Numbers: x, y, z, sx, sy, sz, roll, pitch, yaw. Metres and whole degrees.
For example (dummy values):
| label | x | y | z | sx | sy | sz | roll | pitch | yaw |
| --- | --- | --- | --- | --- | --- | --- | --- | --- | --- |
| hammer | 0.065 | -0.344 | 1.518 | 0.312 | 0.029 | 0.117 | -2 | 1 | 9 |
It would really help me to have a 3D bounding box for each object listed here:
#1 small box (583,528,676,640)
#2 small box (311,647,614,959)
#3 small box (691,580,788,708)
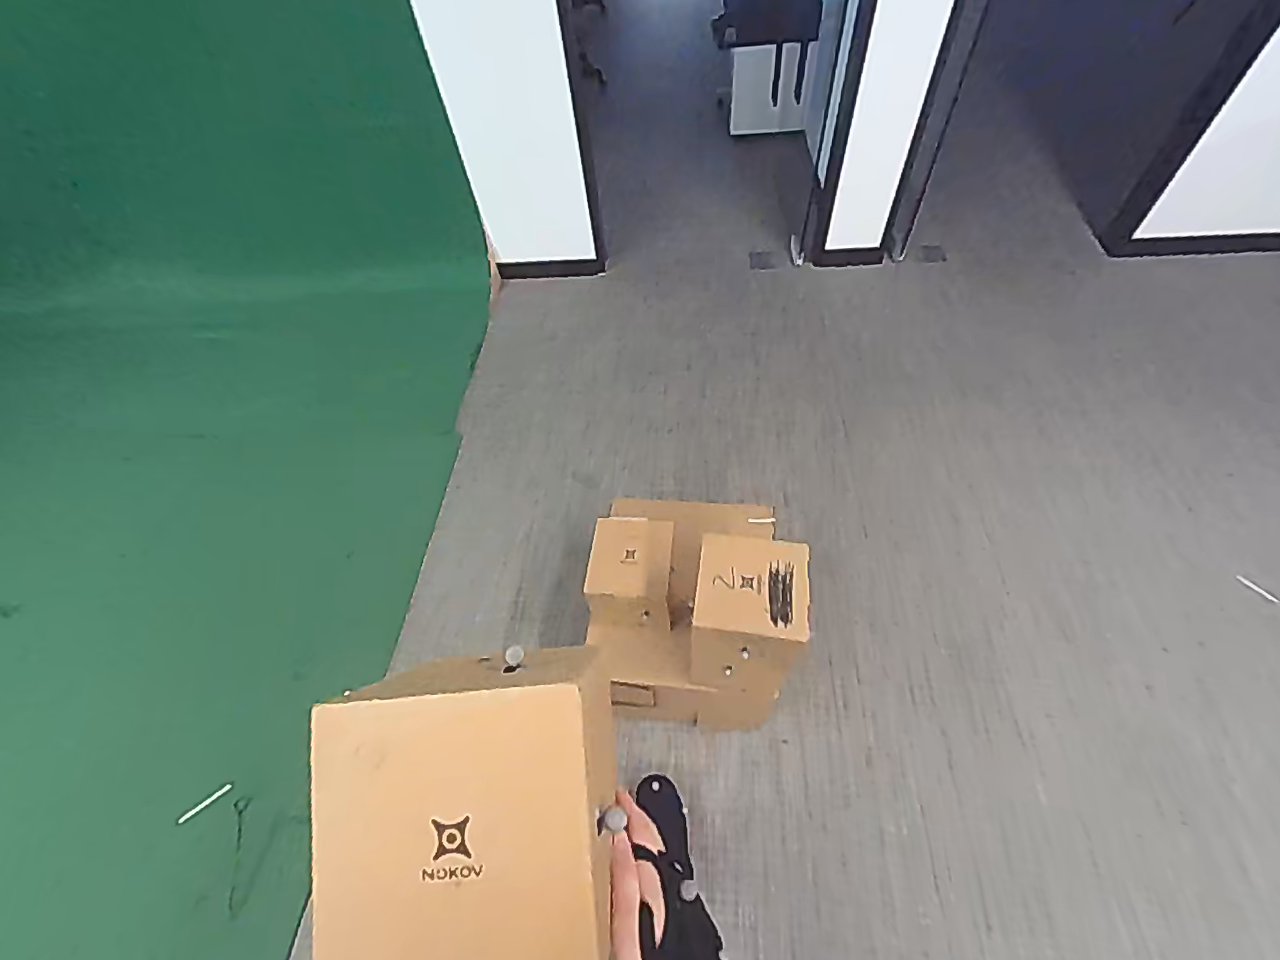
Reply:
| label | x | y | z | sx | sy | sz | roll | pitch | yaw |
| --- | --- | --- | --- | --- | --- | --- | --- | --- | --- |
| small box | -0.013 | 0.223 | 1.146 | 0.168 | 0.176 | 0.179 | 3 | 52 | 8 |
| small box | -0.111 | 0.224 | 0.400 | 0.168 | 0.176 | 0.179 | -5 | 81 | 1 |
| small box | 0.190 | 0.319 | 1.049 | 0.168 | 0.176 | 0.179 | 5 | 52 | 9 |
